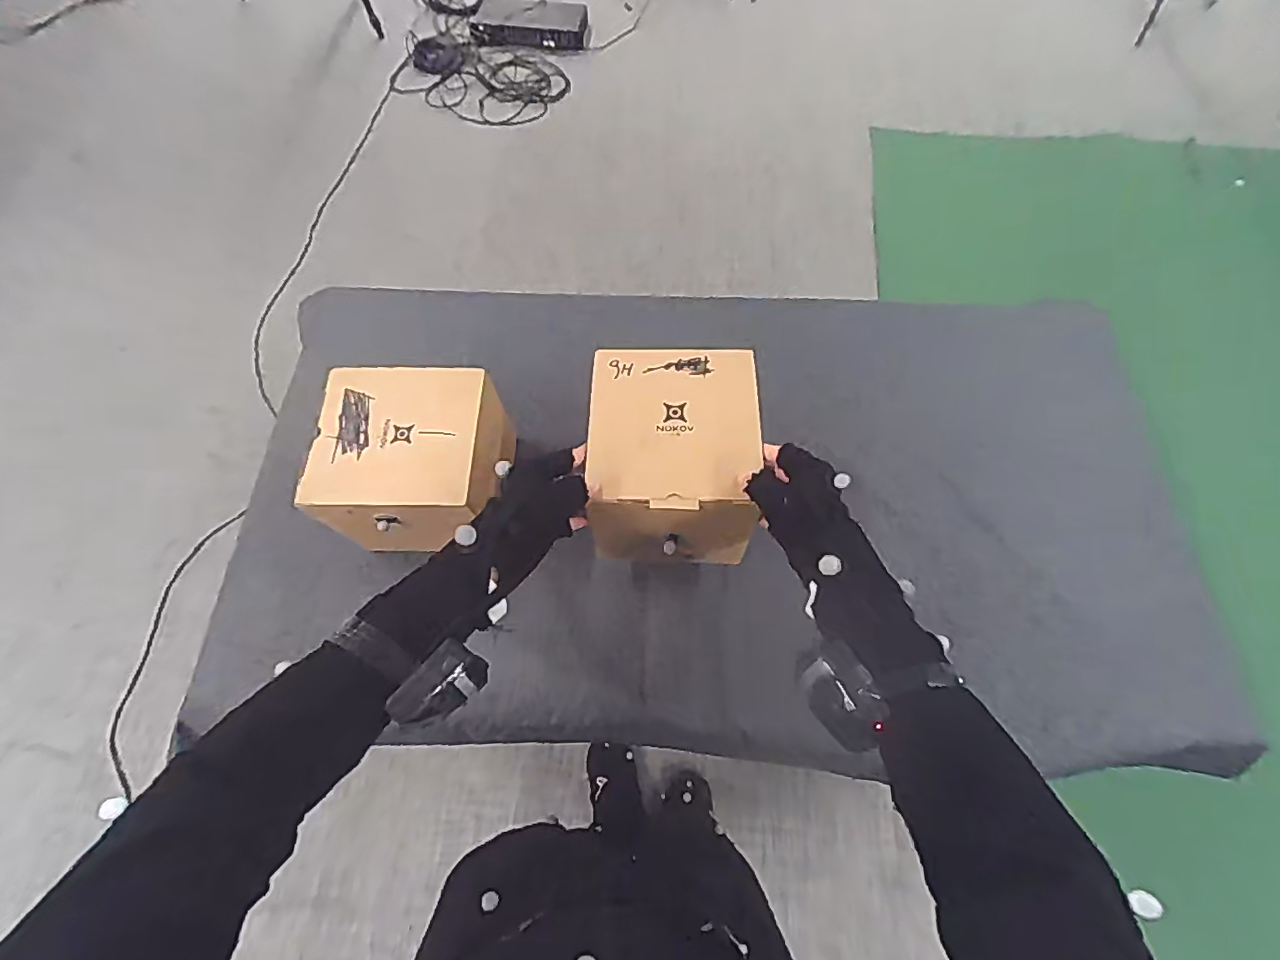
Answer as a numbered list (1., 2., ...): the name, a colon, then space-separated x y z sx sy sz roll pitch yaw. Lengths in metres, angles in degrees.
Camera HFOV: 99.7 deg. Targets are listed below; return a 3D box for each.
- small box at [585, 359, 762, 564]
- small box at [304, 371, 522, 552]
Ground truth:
1. small box: 0.038 -0.013 0.598 0.168 0.176 0.179 1 63 2
2. small box: -0.253 -0.014 0.651 0.179 0.176 0.168 1 67 0
